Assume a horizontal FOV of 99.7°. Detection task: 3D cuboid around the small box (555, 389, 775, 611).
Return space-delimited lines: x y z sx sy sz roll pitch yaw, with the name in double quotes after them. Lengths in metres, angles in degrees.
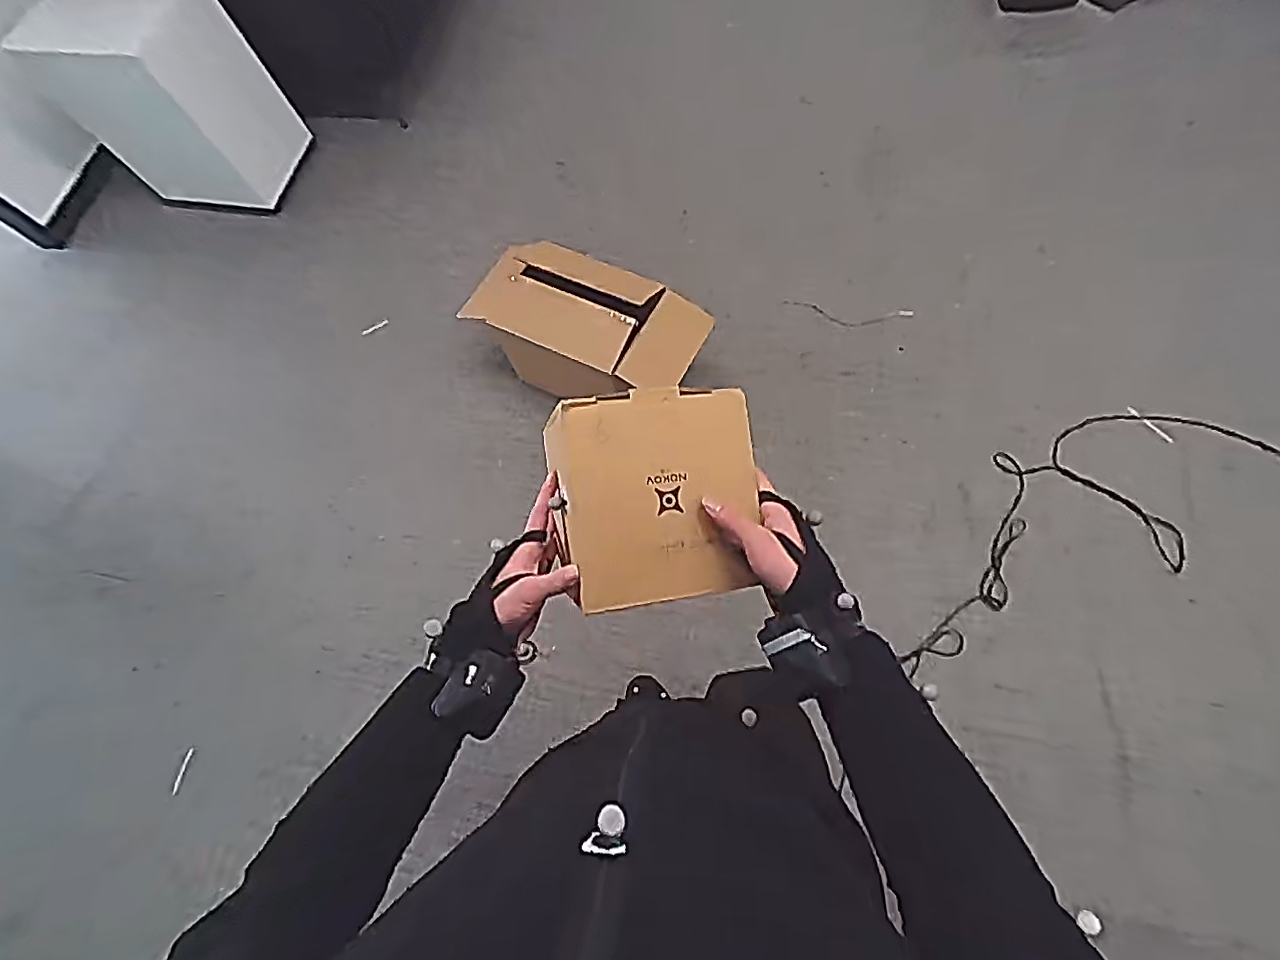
0.010 0.020 0.517 0.168 0.176 0.179 -3 85 -13 "small box"
